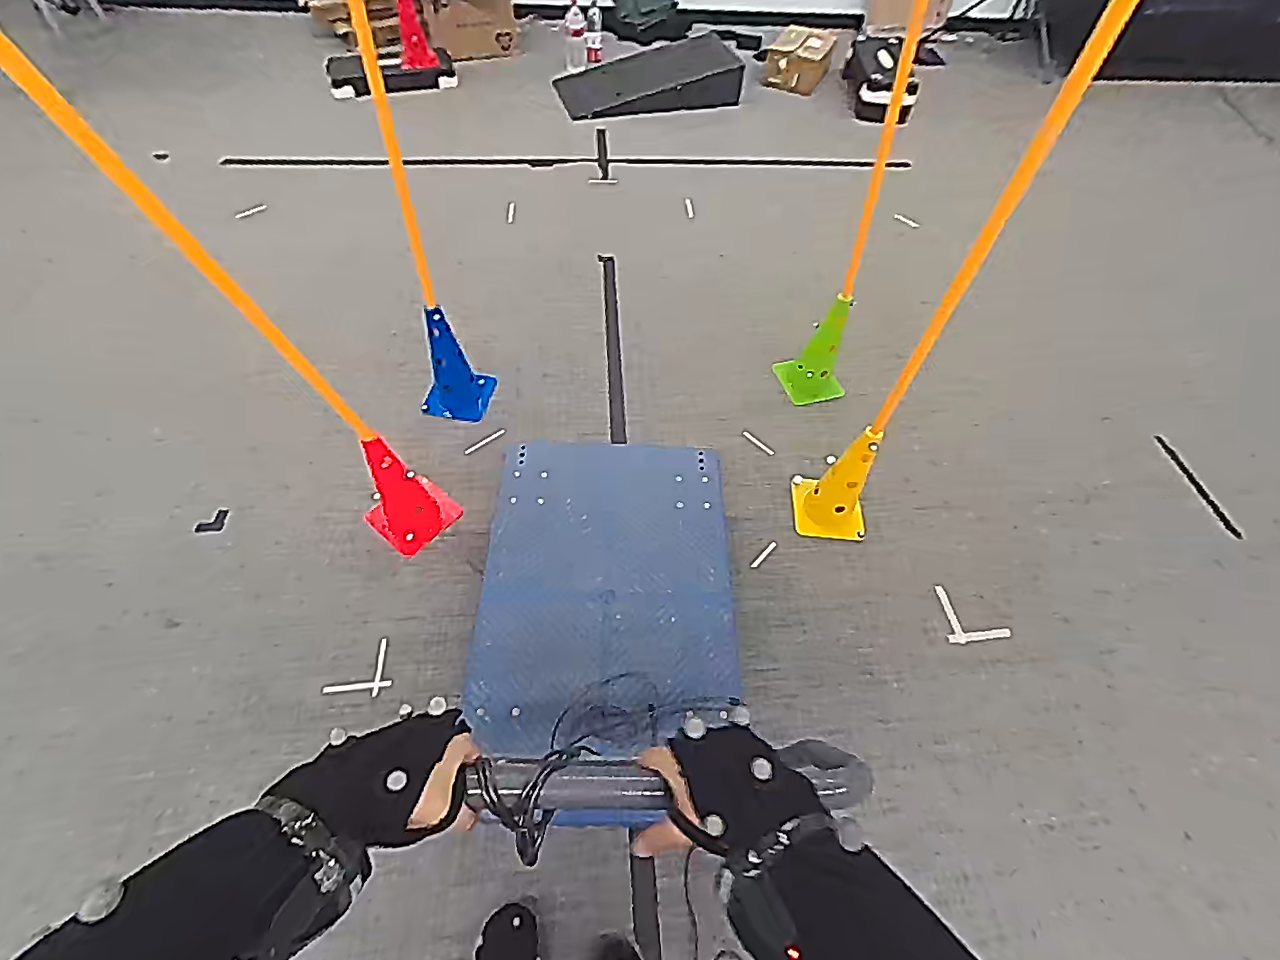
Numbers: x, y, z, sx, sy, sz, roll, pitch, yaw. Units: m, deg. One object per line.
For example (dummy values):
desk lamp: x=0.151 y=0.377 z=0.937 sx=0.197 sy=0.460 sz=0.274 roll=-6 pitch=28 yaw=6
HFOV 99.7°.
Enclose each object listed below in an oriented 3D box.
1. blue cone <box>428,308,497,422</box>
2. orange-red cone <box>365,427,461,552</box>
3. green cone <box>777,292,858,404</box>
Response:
blue cone: x=-0.568 y=-0.364 z=1.628 sx=0.193 sy=0.380 sz=0.192 roll=11 pitch=57 yaw=4
orange-red cone: x=-0.615 y=-0.008 z=1.367 sx=0.198 sy=0.360 sz=0.199 roll=37 pitch=60 yaw=19
green cone: x=0.606 y=-0.445 z=1.737 sx=0.200 sy=0.368 sz=0.202 roll=-13 pitch=59 yaw=-12
